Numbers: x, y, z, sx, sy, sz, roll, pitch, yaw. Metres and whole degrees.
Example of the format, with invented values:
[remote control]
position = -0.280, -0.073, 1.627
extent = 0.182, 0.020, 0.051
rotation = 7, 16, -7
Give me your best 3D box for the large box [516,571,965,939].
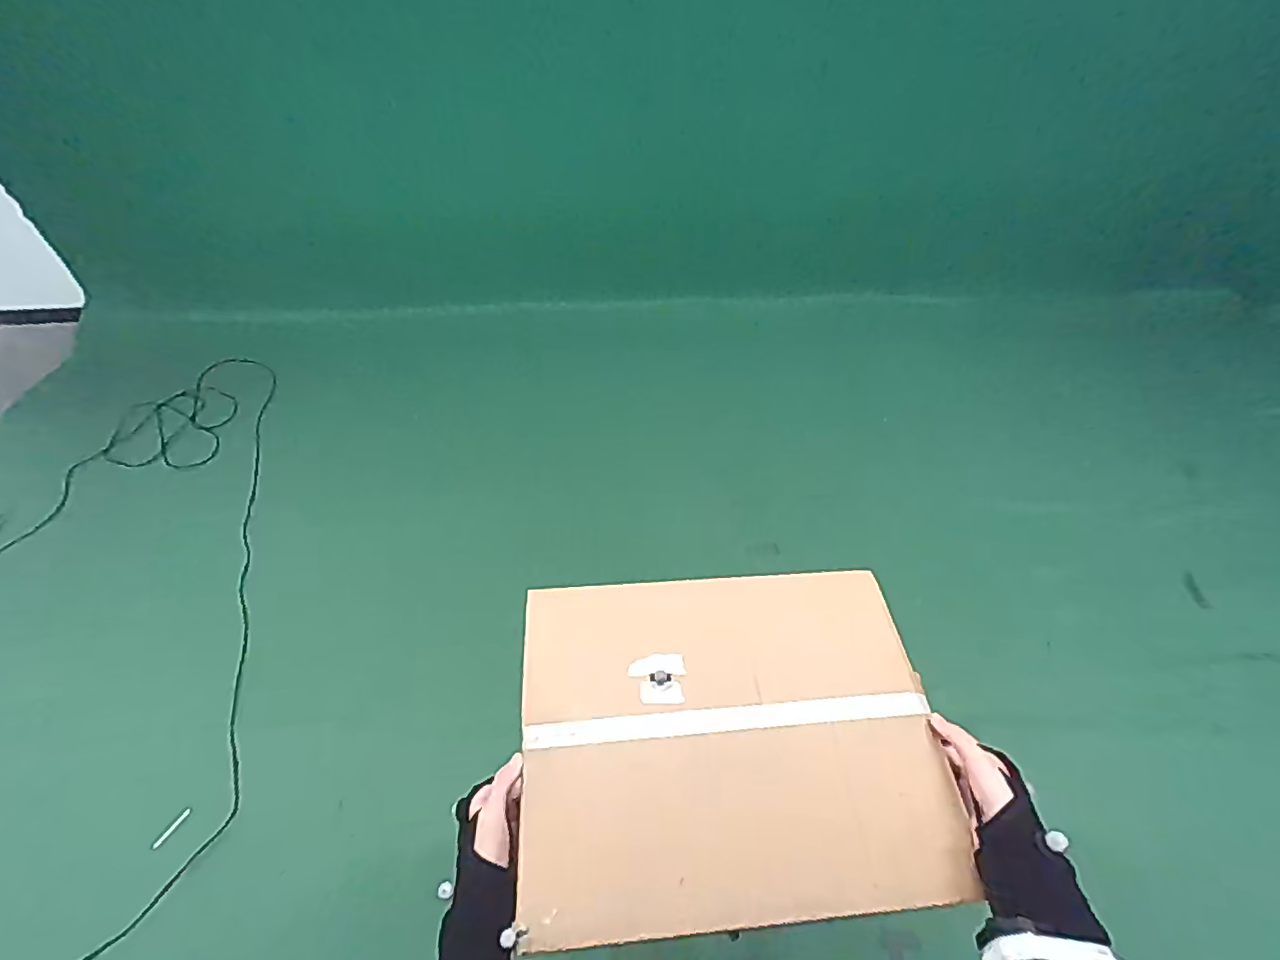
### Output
[large box]
position = 0.078, 0.330, 0.670
extent = 0.408, 0.320, 0.320
rotation = -3, 54, -4
